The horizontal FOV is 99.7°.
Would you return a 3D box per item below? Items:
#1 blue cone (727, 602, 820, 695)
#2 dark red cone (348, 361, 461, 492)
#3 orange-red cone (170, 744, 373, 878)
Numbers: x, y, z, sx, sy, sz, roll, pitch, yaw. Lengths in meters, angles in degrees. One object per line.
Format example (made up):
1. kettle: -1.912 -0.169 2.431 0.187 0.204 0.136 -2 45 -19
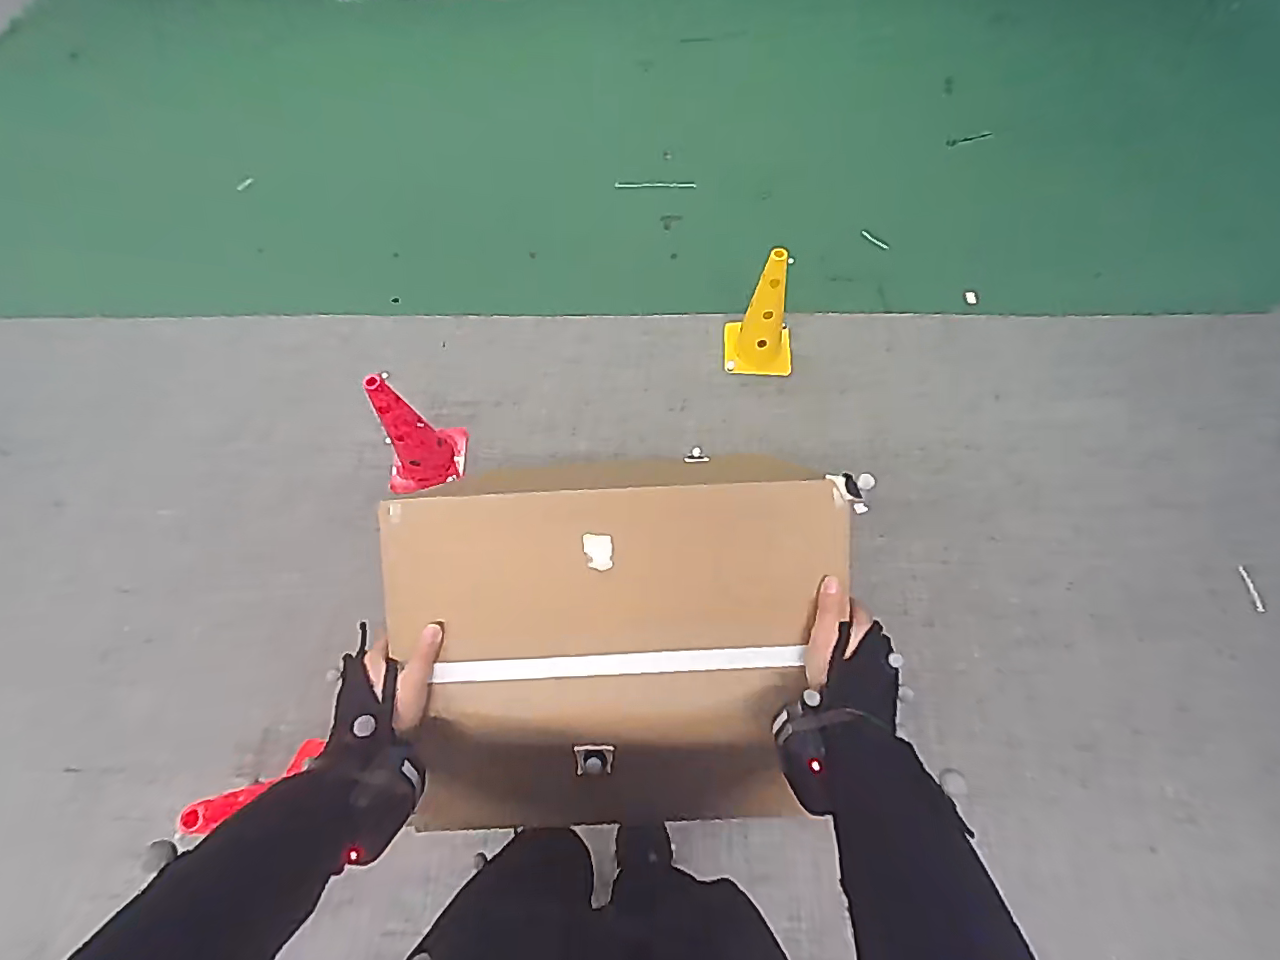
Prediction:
1. blue cone: 0.291 0.315 1.098 0.192 0.380 0.193 1 62 3
2. dark red cone: -0.606 -0.145 1.349 0.202 0.394 0.201 -6 59 0
3. orange-red cone: -0.690 0.598 0.976 0.199 0.360 0.198 18 63 13
